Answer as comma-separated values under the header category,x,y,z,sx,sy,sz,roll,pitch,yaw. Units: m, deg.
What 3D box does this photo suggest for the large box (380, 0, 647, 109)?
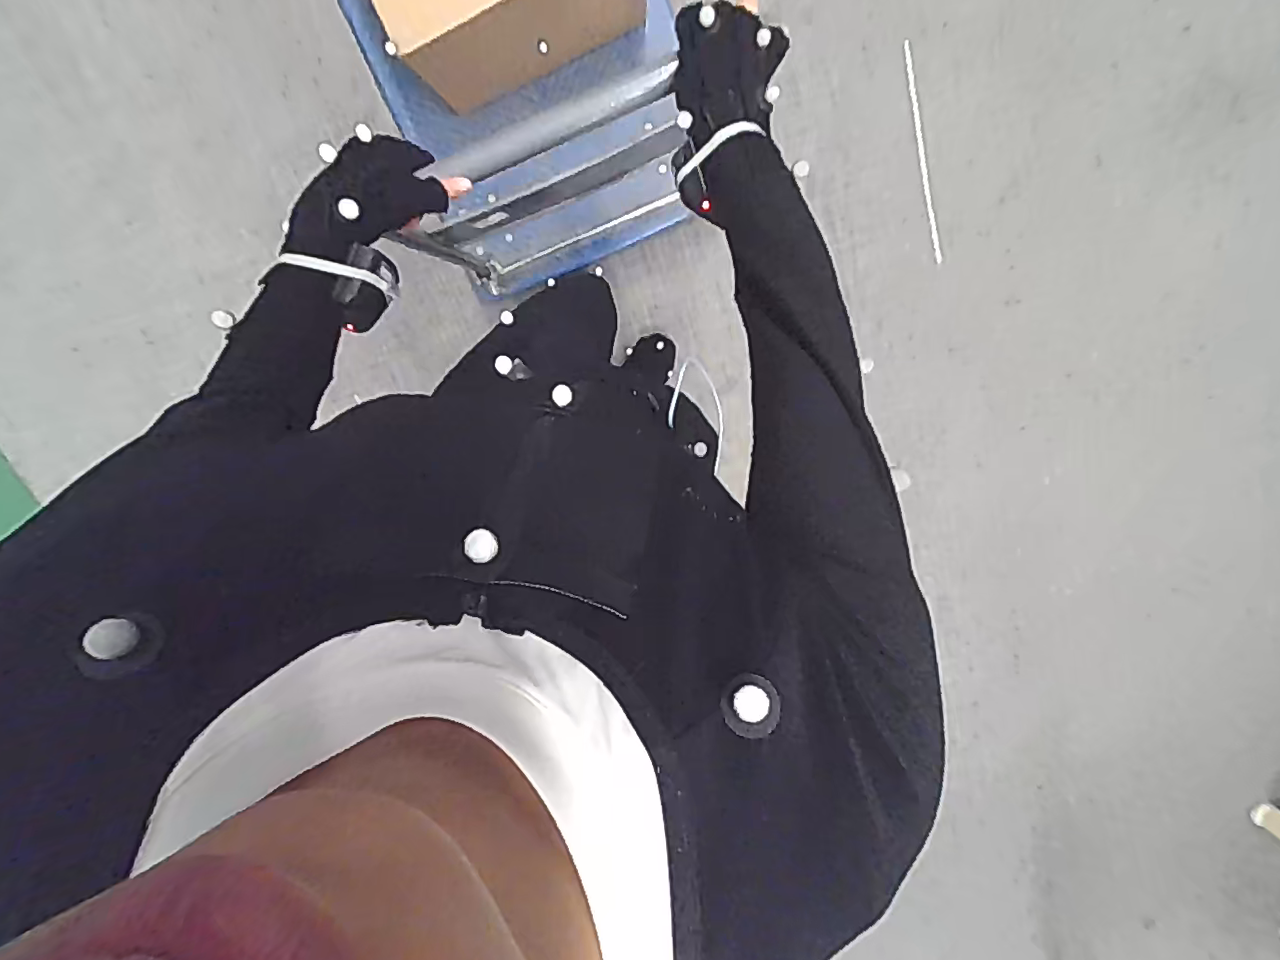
category,x,y,z,sx,sy,sz,roll,pitch,yaw
large box,-0.226,-0.887,0.864,0.408,0.320,0.320,-23,108,8
